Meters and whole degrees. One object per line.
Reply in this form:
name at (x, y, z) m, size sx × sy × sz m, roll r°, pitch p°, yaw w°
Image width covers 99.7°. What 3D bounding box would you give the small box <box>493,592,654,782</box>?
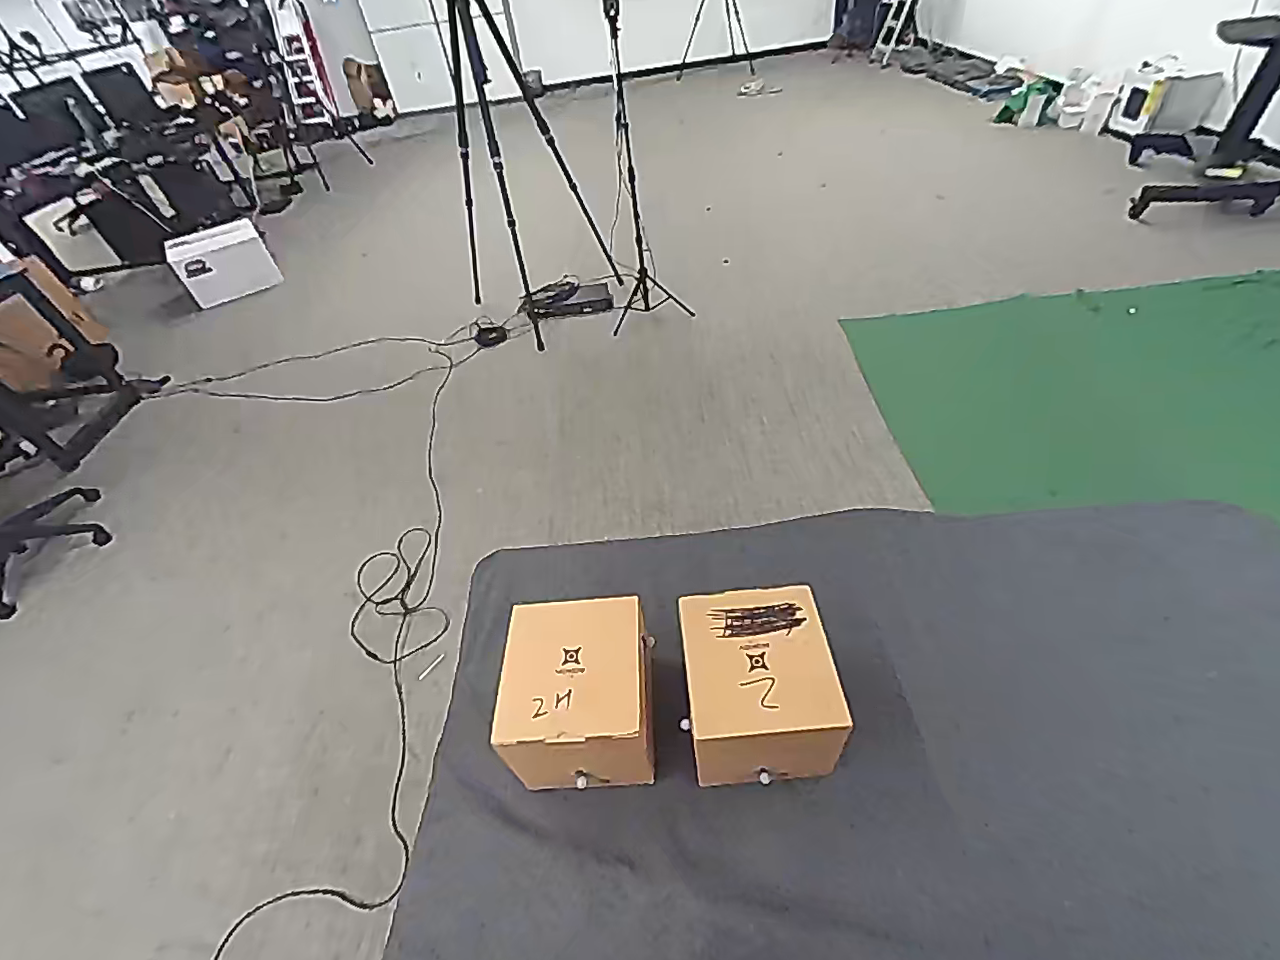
small box at (-0.072, 0.267, 0.697) m, size 0.168 × 0.176 × 0.179 m, roll -5°, pitch 45°, yaw 4°
